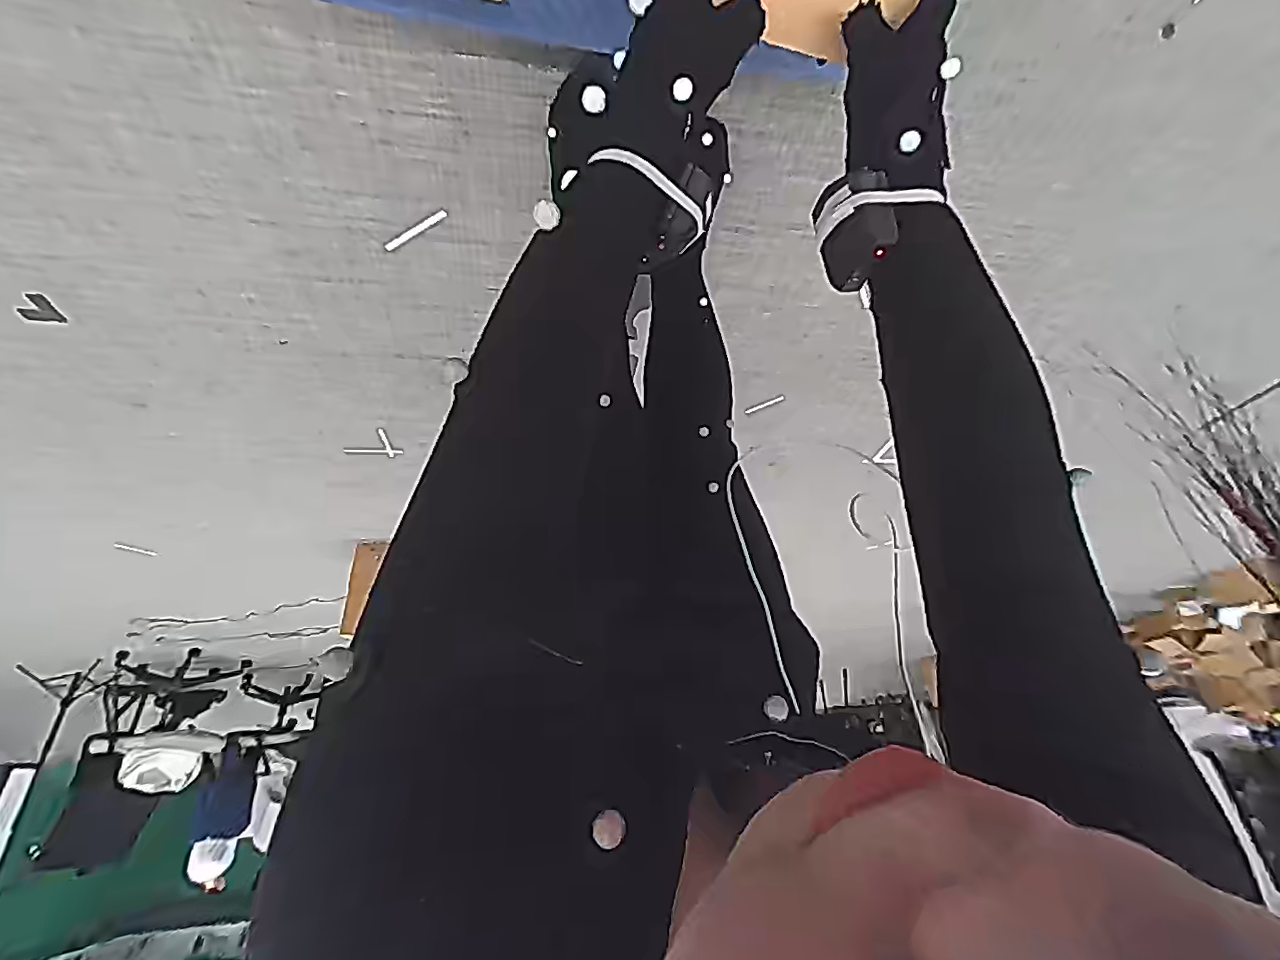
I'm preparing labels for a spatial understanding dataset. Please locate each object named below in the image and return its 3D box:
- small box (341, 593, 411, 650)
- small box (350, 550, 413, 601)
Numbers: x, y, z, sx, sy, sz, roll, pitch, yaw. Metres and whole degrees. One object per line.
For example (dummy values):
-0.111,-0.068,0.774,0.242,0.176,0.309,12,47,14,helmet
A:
-0.960,0.518,1.982,0.179,0.176,0.168,1,150,-8,small box
-0.977,0.374,2.060,0.168,0.176,0.179,0,150,-9,small box
